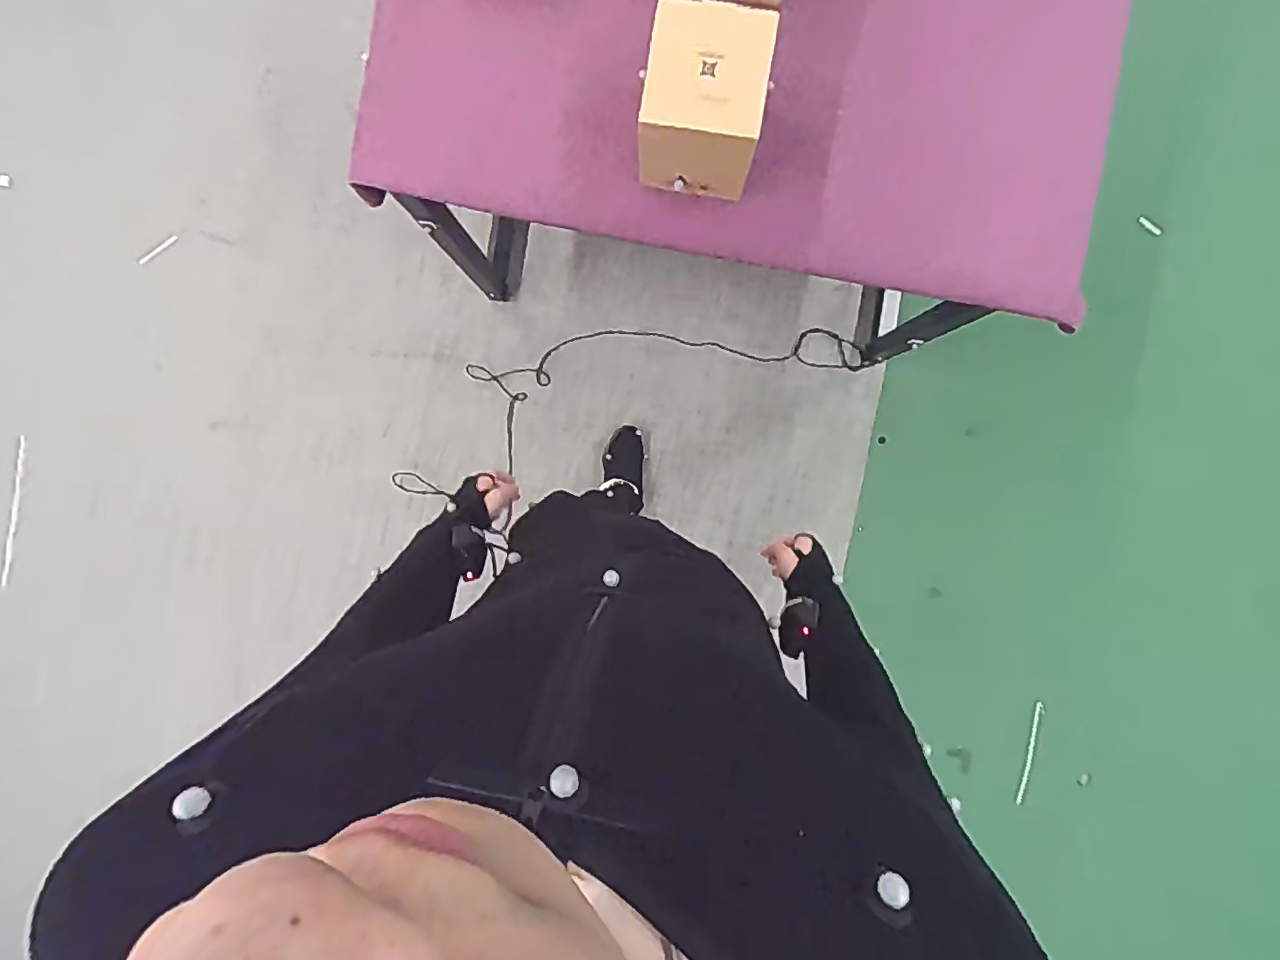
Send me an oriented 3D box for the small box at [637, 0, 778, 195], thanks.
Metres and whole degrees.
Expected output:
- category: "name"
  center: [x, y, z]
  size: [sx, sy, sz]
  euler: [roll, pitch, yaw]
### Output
- category: "small box"
  center: [0.092, -0.562, 0.803]
  size: [0.168, 0.176, 0.179]
  euler: [10, 92, 2]
